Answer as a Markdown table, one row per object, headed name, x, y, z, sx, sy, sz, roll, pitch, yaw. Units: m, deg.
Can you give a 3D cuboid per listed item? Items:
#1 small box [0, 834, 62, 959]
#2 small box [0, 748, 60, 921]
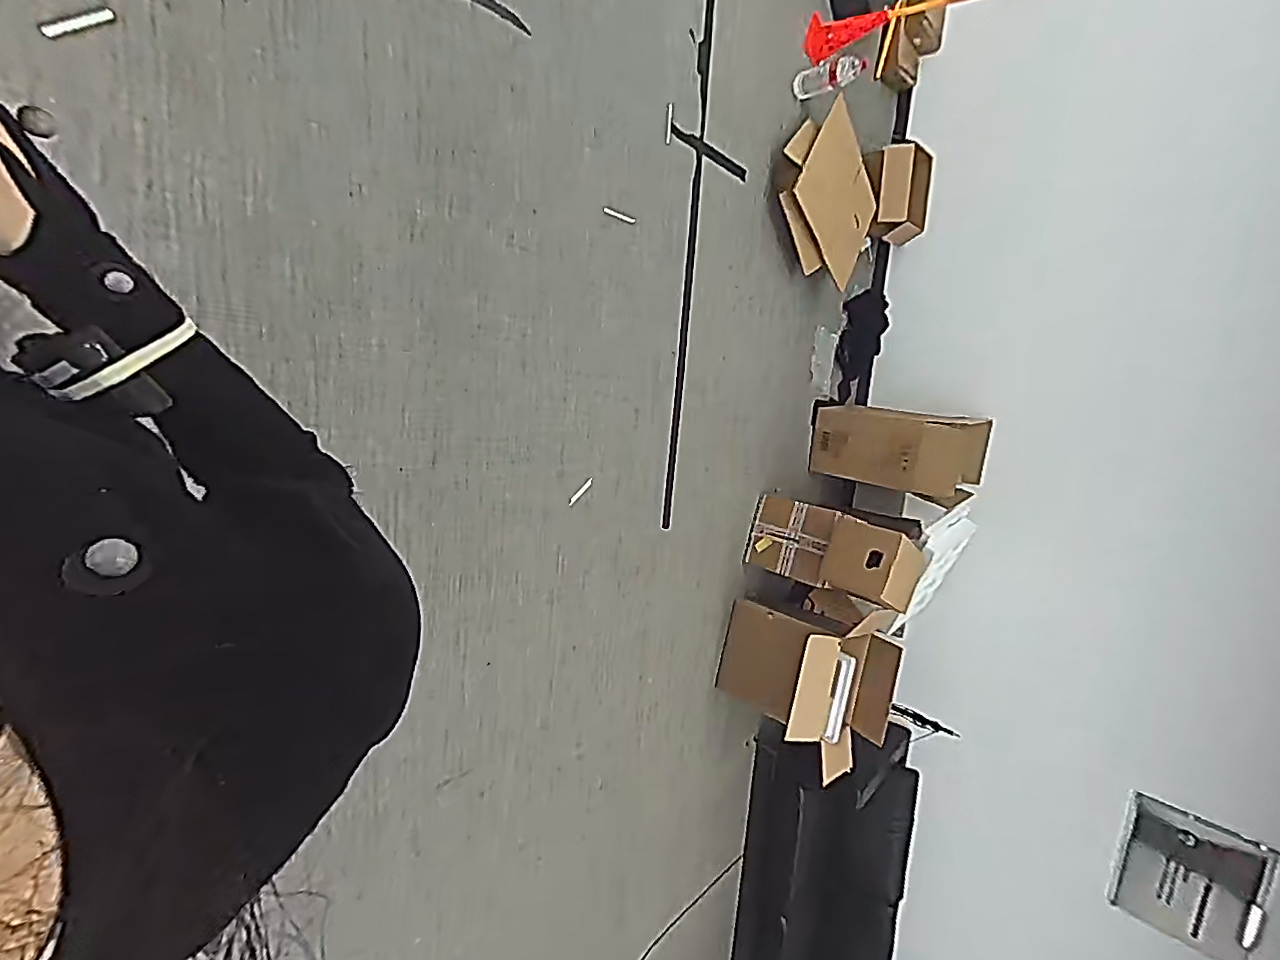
| name | x | y | z | sx | sy | sz | roll | pitch | yaw |
| --- | --- | --- | --- | --- | --- | --- | --- | --- | --- |
| small box | -0.597 | 0.446 | 0.439 | 0.168 | 0.176 | 0.179 | -9 | 104 | -47 |
| small box | -0.717 | 0.417 | 0.549 | 0.168 | 0.176 | 0.179 | -6 | 103 | -46 |
